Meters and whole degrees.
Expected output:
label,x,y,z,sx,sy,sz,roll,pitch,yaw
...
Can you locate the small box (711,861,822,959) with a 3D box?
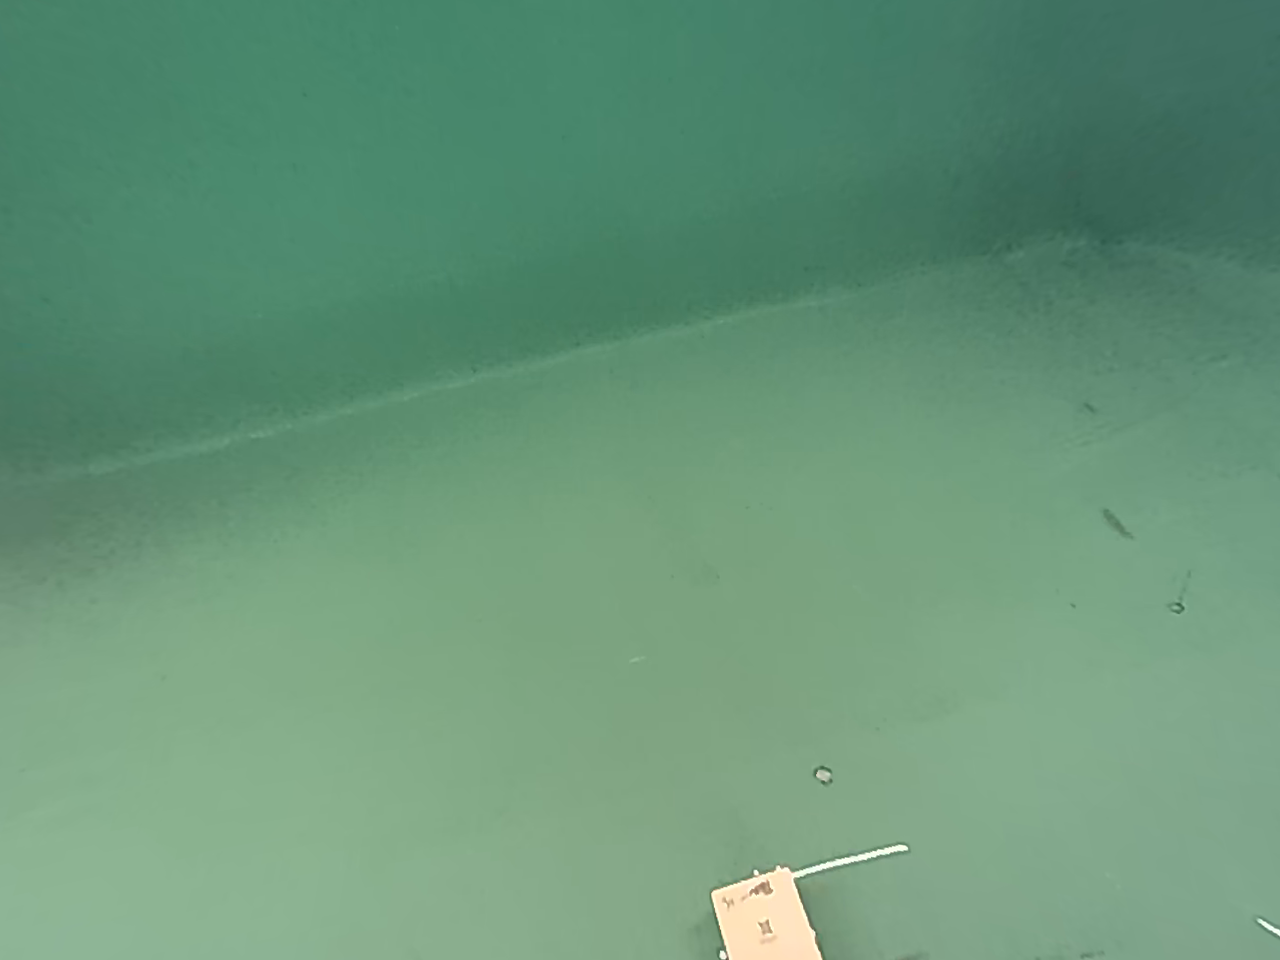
label,x,y,z,sx,sy,sz,roll,pitch,yaw
small box,0.250,0.894,1.075,0.168,0.176,0.179,-15,46,-3
